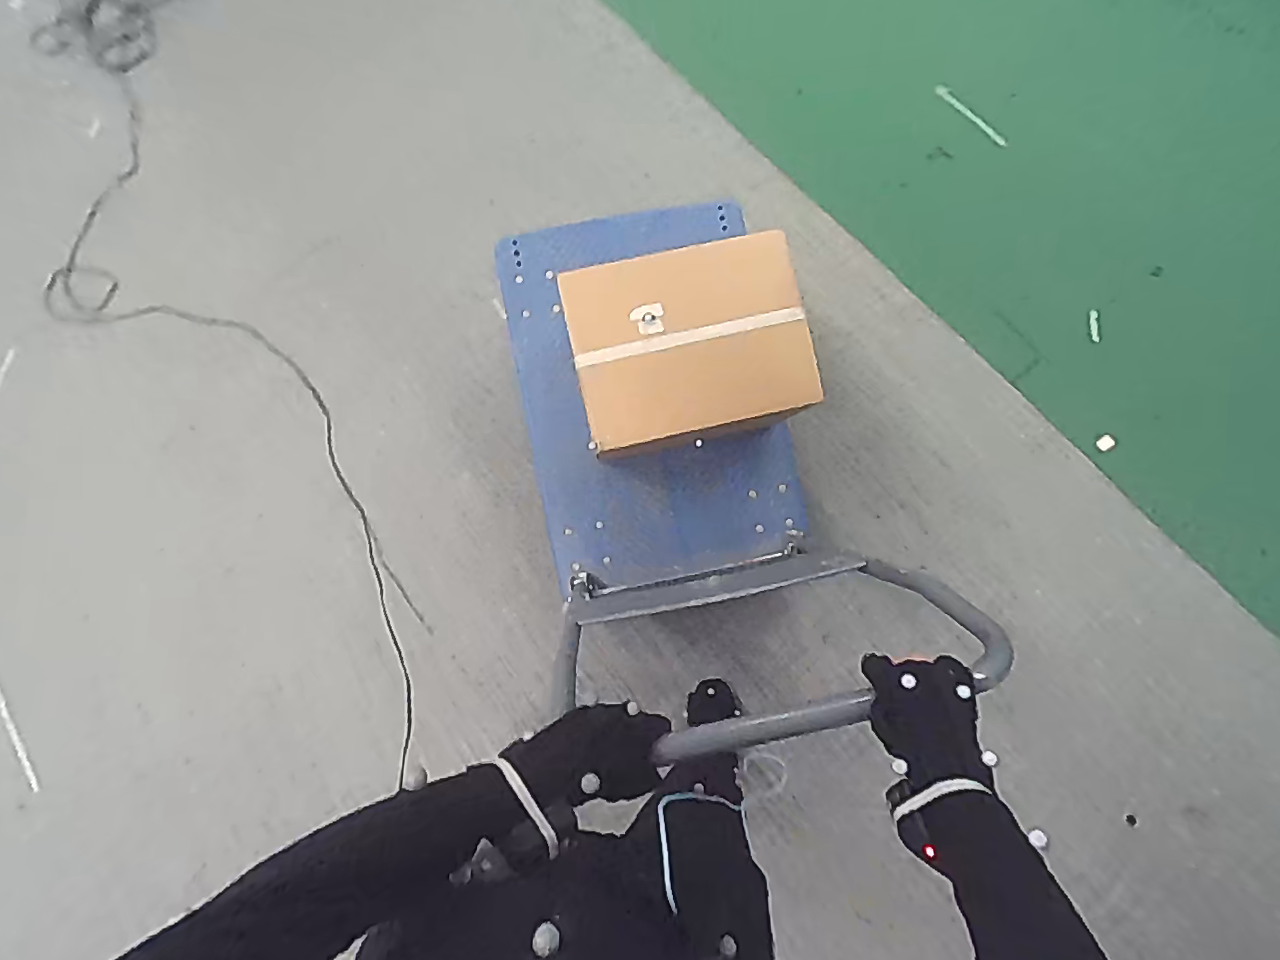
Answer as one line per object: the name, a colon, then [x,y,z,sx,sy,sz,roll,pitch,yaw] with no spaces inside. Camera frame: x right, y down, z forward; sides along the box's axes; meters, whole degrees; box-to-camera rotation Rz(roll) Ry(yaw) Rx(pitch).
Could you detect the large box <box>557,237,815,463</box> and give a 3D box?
large box: [0.079,-0.232,1.093,0.408,0.320,0.320,-13,88,-2]
